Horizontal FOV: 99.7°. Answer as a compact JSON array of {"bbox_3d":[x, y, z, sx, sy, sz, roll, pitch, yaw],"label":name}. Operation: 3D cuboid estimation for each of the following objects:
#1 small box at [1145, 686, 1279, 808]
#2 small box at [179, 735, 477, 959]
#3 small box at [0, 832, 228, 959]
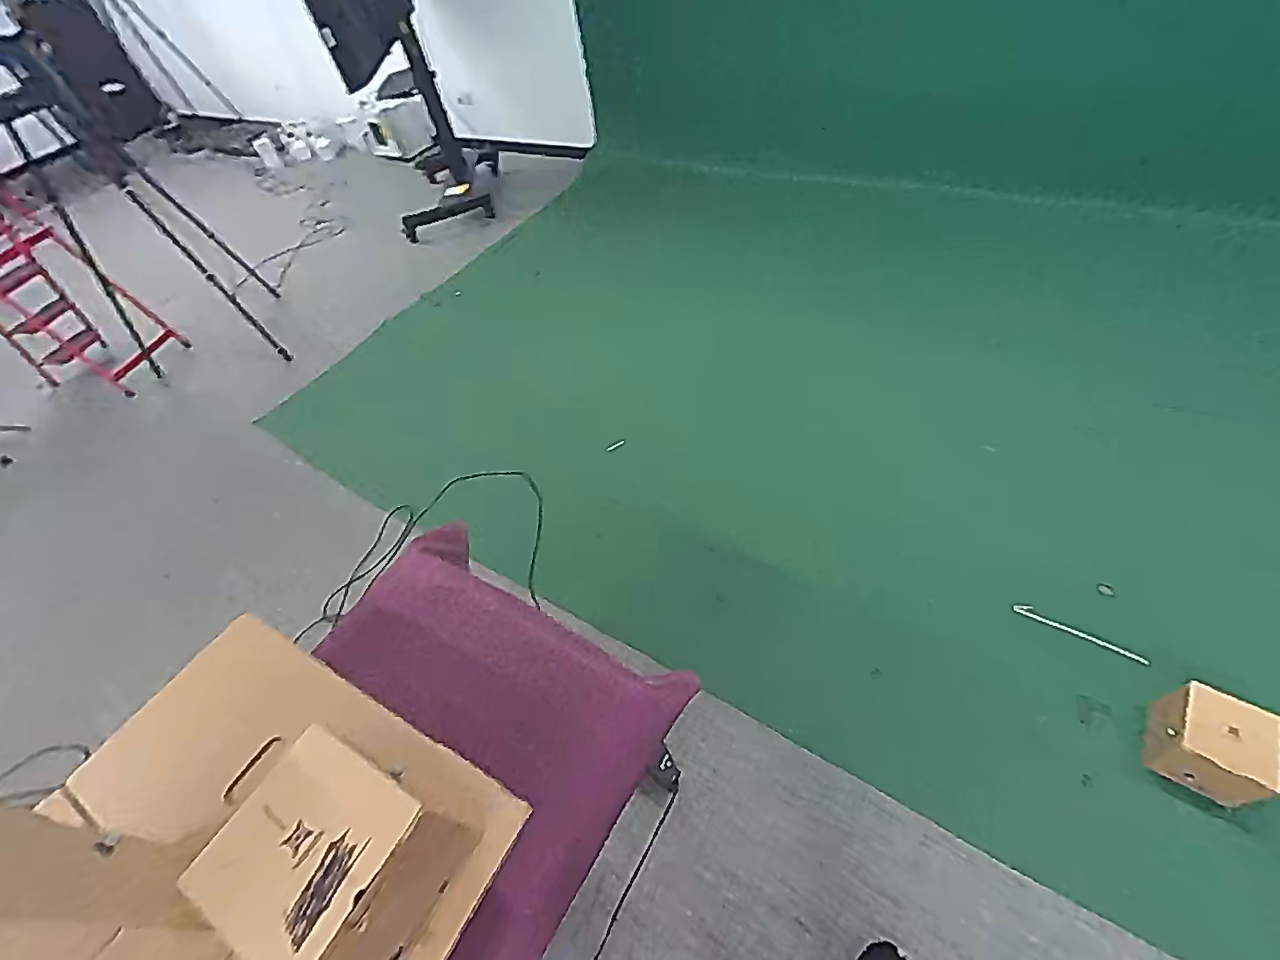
[{"bbox_3d":[1.315,0.616,1.243,0.168,0.176,0.179,24,60,26],"label":"small box"},{"bbox_3d":[-0.305,0.406,0.567,0.179,0.176,0.168,19,55,25],"label":"small box"},{"bbox_3d":[-0.561,0.493,0.532,0.179,0.176,0.168,20,55,25],"label":"small box"}]
